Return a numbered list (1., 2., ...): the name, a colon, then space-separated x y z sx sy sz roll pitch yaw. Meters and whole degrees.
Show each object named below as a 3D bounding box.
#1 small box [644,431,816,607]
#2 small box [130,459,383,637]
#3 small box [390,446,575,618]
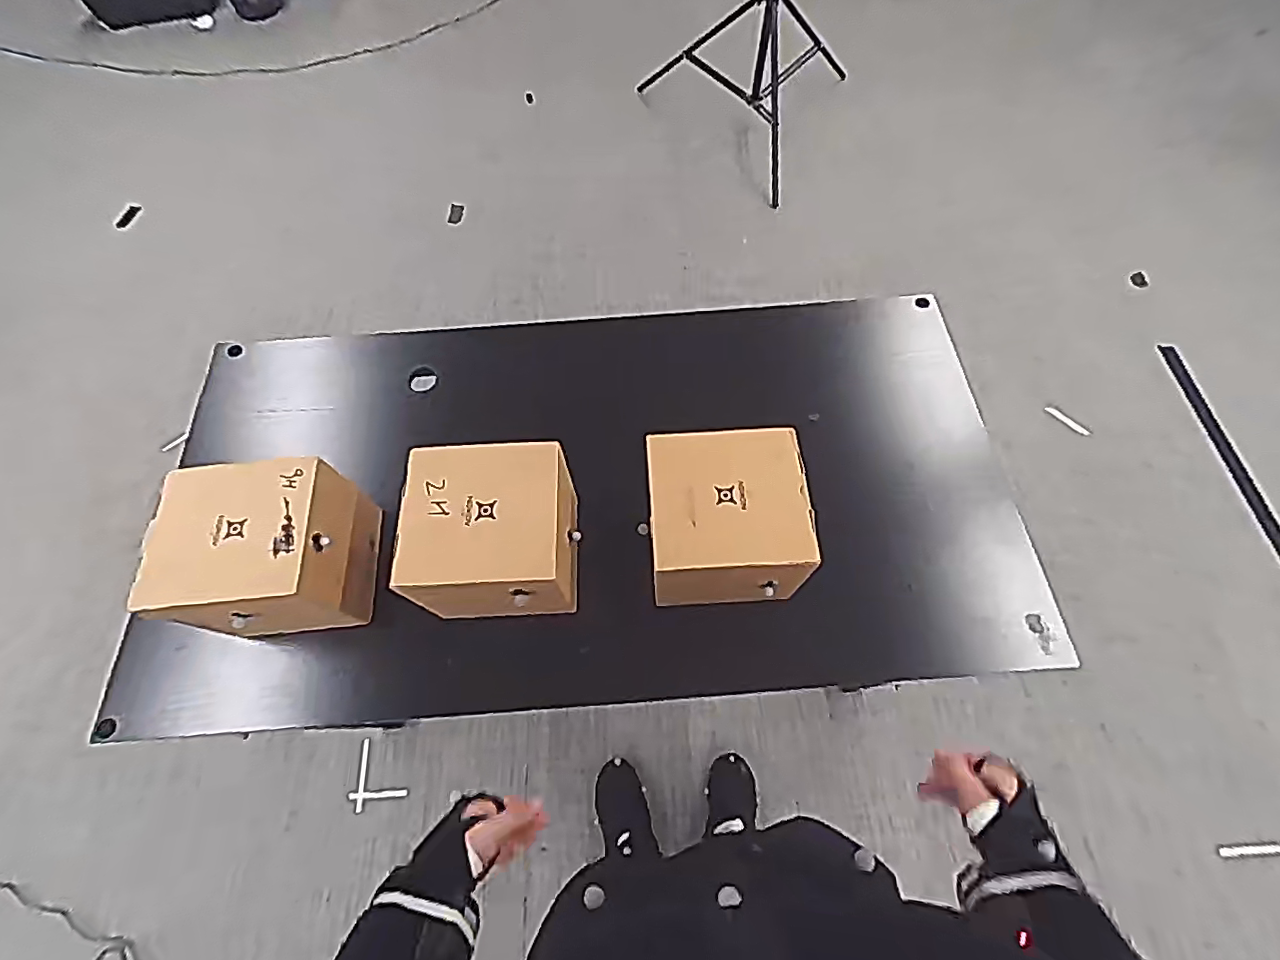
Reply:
1. small box: 0.097 0.055 0.670 0.179 0.176 0.168 -4 64 1
2. small box: -0.449 0.092 0.667 0.179 0.176 0.168 -6 65 -1
3. small box: -0.176 0.071 0.668 0.179 0.176 0.168 -3 65 1
